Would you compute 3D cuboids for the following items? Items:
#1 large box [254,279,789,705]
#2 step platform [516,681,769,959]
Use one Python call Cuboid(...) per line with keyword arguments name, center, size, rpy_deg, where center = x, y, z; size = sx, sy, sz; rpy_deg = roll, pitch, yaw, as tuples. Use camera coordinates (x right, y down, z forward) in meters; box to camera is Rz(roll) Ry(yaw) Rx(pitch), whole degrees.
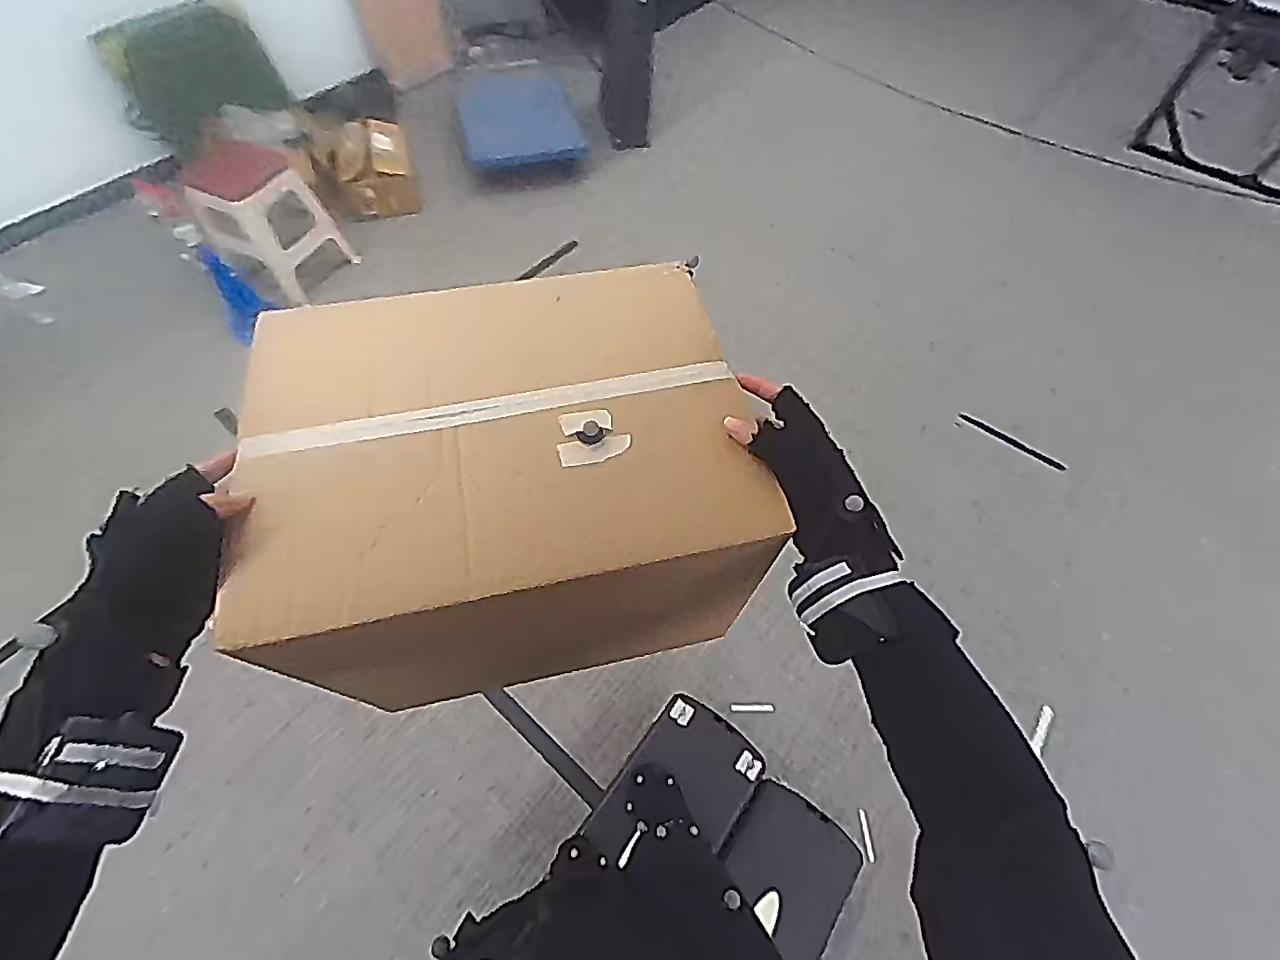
Cuboid(name="large box", center=(-0.114, 0.024, 0.597), size=(0.408, 0.320, 0.320), rpy_deg=(-9, 61, -9))
Cuboid(name="step platform", center=(0.025, 0.836, 1.300), size=(0.286, 0.204, 0.684), rpy_deg=(34, 63, 18))
